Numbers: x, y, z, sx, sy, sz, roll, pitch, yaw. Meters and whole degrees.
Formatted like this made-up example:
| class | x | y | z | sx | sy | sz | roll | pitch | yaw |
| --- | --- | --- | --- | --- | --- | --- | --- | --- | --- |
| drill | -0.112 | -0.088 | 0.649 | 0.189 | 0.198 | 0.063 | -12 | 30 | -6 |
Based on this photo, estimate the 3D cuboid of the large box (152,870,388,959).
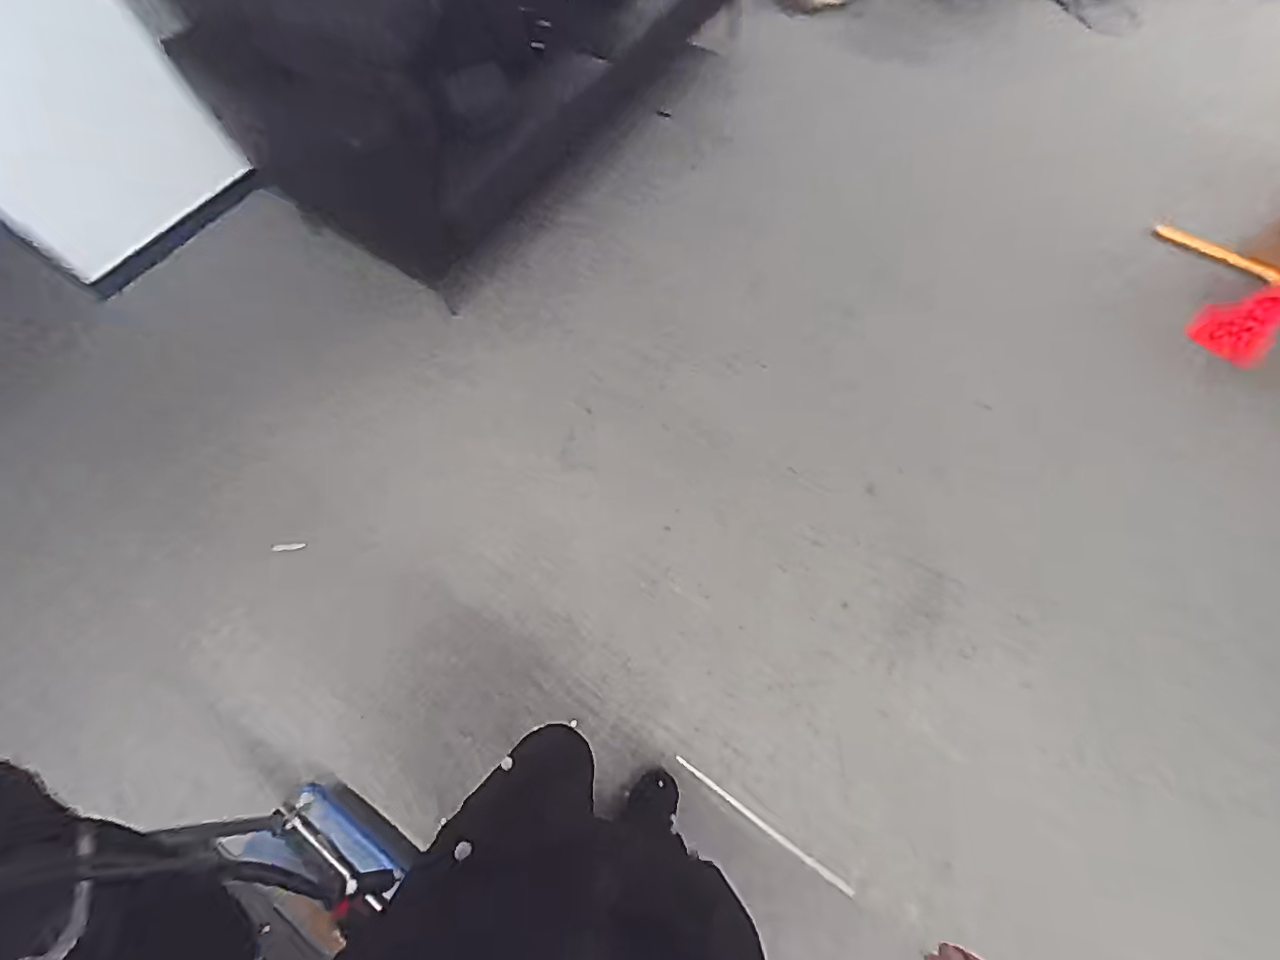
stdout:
| class | x | y | z | sx | sy | sz | roll | pitch | yaw |
| --- | --- | --- | --- | --- | --- | --- | --- | --- | --- |
| large box | -0.721 | 0.997 | 0.928 | 0.320 | 0.320 | 0.408 | 33 | 70 | 18 |
